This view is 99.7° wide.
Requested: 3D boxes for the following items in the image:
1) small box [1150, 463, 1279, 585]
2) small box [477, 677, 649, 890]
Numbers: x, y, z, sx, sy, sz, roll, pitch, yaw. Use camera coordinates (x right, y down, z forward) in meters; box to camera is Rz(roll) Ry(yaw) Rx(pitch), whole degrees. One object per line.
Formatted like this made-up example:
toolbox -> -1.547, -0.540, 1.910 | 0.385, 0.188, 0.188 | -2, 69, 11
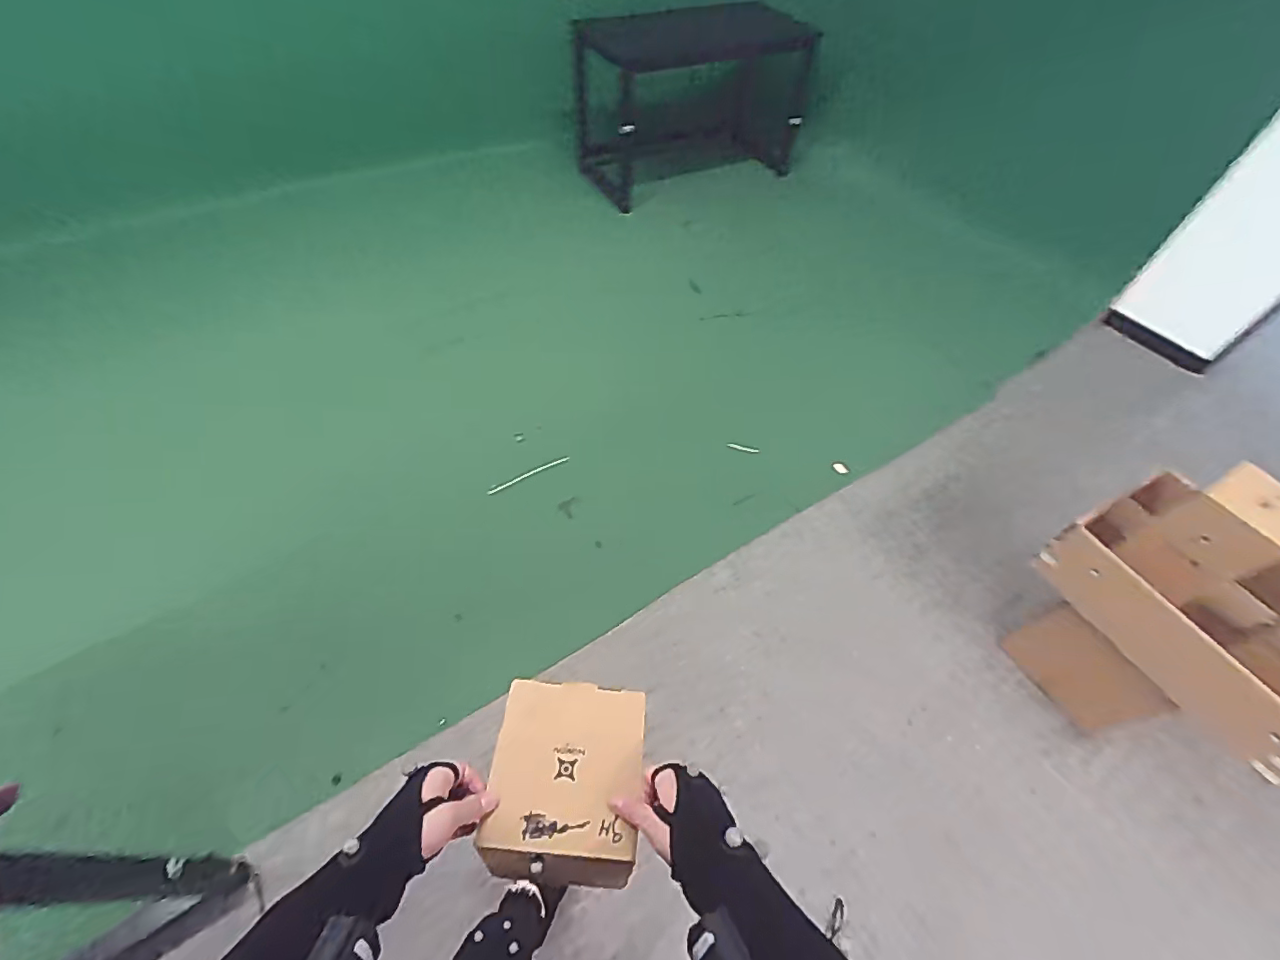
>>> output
small box -> 1.271, 0.099, 1.165 | 0.179, 0.176, 0.168 | -24, 59, -18
small box -> -0.084, 0.369, 0.658 | 0.168, 0.176, 0.179 | 7, 45, 1
